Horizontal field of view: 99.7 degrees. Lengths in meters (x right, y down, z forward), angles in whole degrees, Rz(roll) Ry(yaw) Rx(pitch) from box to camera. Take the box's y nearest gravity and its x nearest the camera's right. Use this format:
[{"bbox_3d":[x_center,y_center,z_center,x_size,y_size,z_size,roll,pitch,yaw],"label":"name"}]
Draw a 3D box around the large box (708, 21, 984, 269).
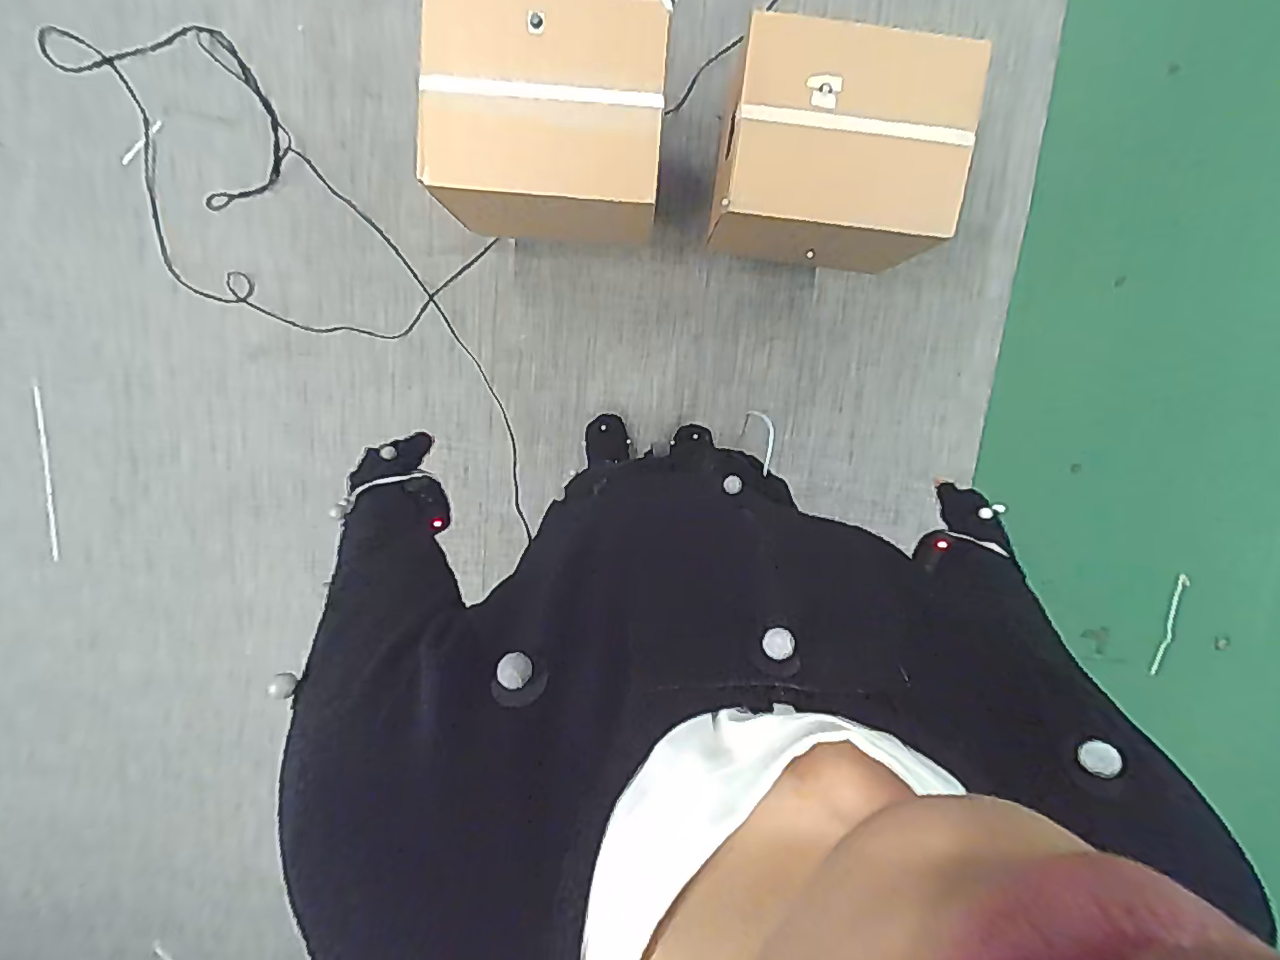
[{"bbox_3d":[0.369,-0.625,1.077,0.408,0.320,0.320,7,99,-1],"label":"large box"}]
